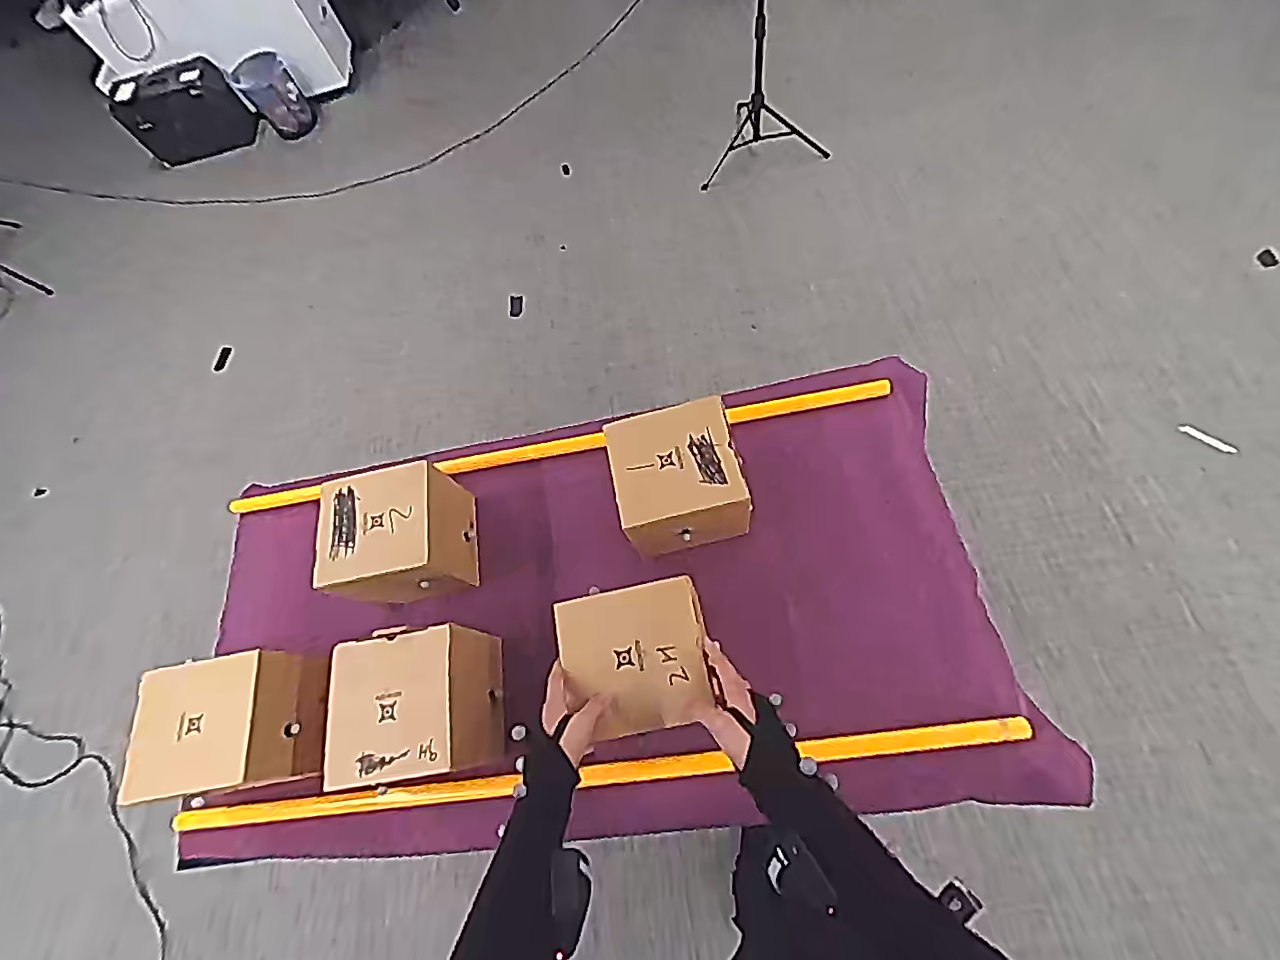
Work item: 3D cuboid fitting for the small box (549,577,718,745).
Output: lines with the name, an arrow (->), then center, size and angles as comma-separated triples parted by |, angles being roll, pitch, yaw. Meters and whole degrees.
small box -> -0.002, 0.238, 0.707 | 0.179, 0.176, 0.168 | -13, 69, 5

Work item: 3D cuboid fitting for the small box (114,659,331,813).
small box -> -0.575, 0.360, 0.776 | 0.179, 0.176, 0.168 | -12, 65, 5

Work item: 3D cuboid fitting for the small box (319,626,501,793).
small box -> -0.301, 0.315, 0.744 | 0.168, 0.176, 0.179 | -12, 65, 6

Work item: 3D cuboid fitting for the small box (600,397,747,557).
small box -> 0.053, 0.004, 0.809 | 0.179, 0.176, 0.168 | -15, 66, 6
